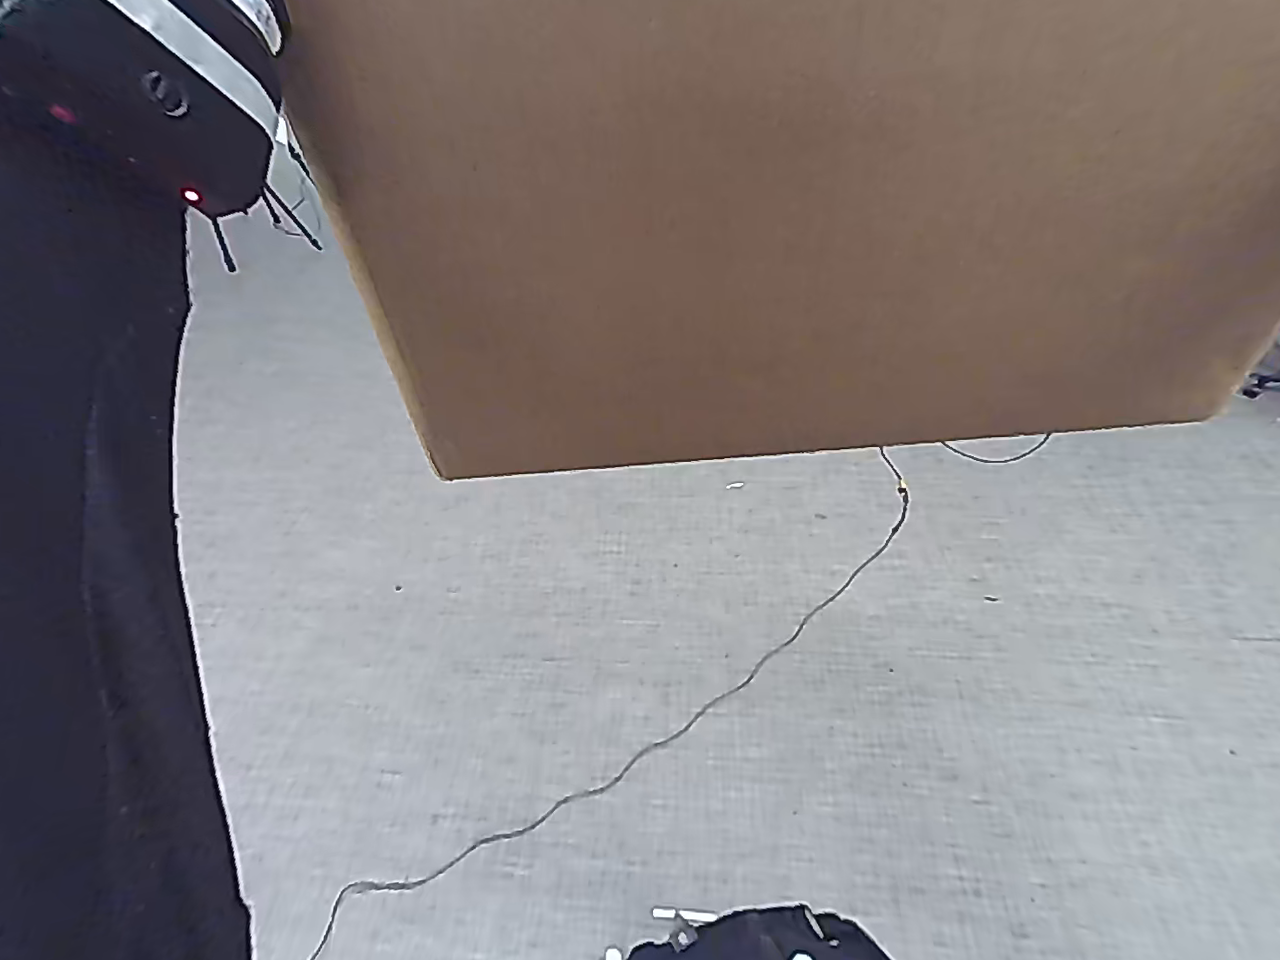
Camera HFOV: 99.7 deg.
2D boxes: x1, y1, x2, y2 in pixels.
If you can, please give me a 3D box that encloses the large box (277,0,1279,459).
[{"bbox_3d":[0.074,-0.233,0.303,0.408,0.320,0.320,-4,40,0],"label":"large box"}]
